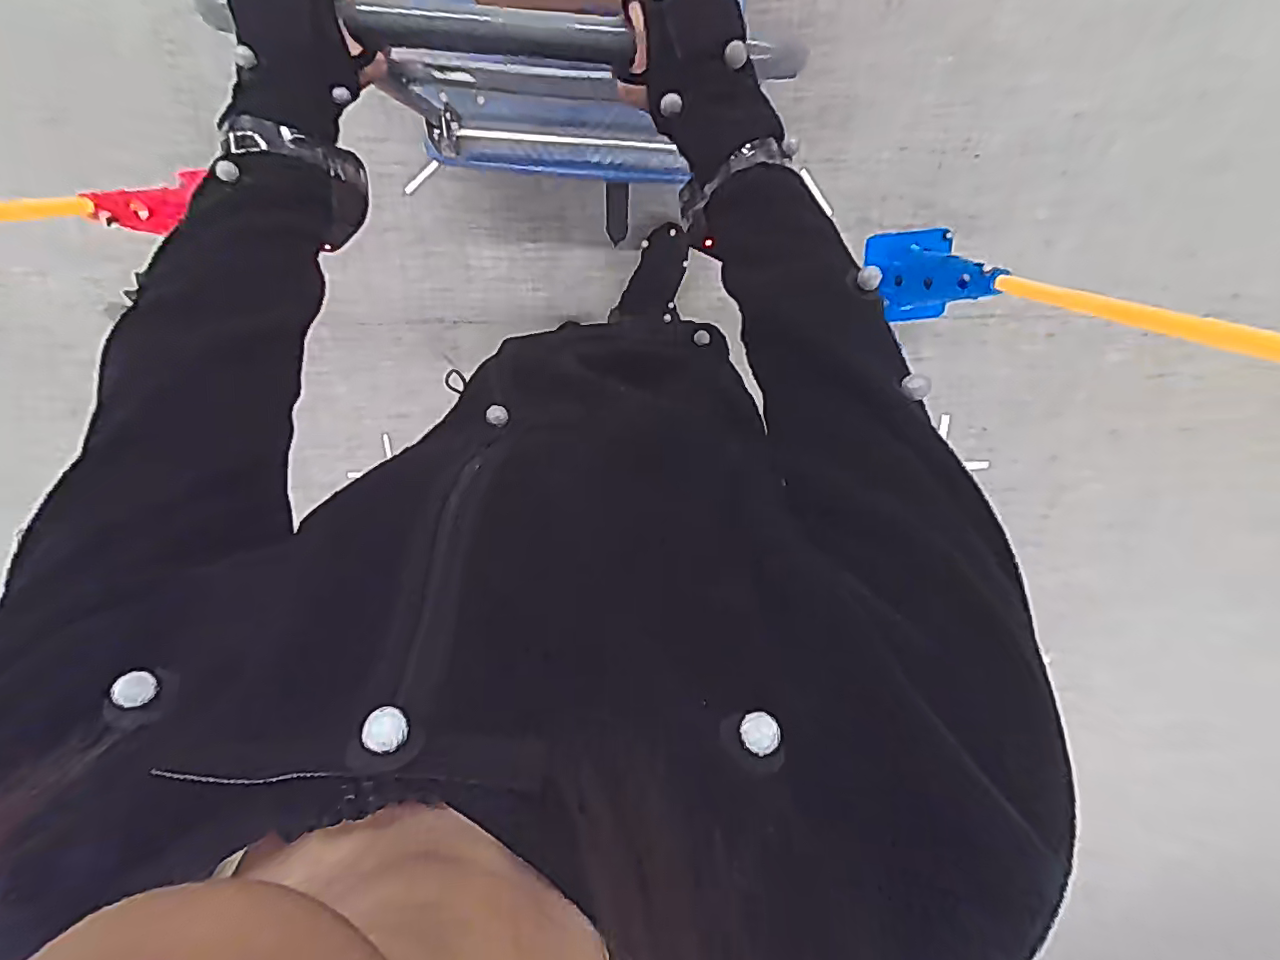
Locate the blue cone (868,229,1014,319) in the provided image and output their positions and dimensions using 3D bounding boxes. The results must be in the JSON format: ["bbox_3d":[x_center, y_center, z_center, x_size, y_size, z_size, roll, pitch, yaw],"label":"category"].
[{"bbox_3d":[0.635,-0.424,1.120,0.193,0.380,0.192,-4,111,0],"label":"blue cone"}]
